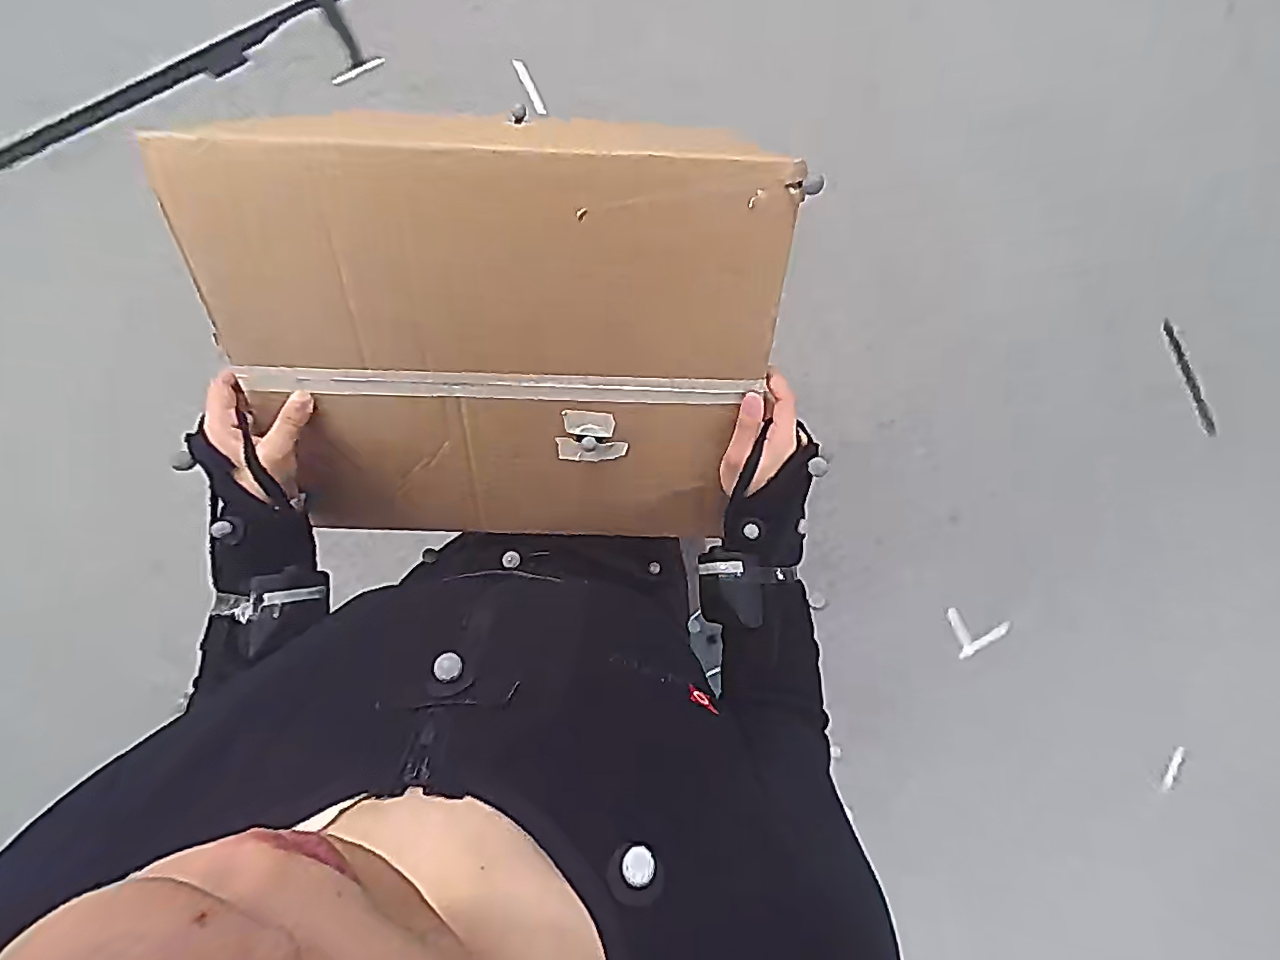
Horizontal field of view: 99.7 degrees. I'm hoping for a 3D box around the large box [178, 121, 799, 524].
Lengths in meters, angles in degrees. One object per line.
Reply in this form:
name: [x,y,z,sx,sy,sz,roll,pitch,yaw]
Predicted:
large box: [-0.103,-0.171,0.551,0.408,0.320,0.320,2,128,-2]
